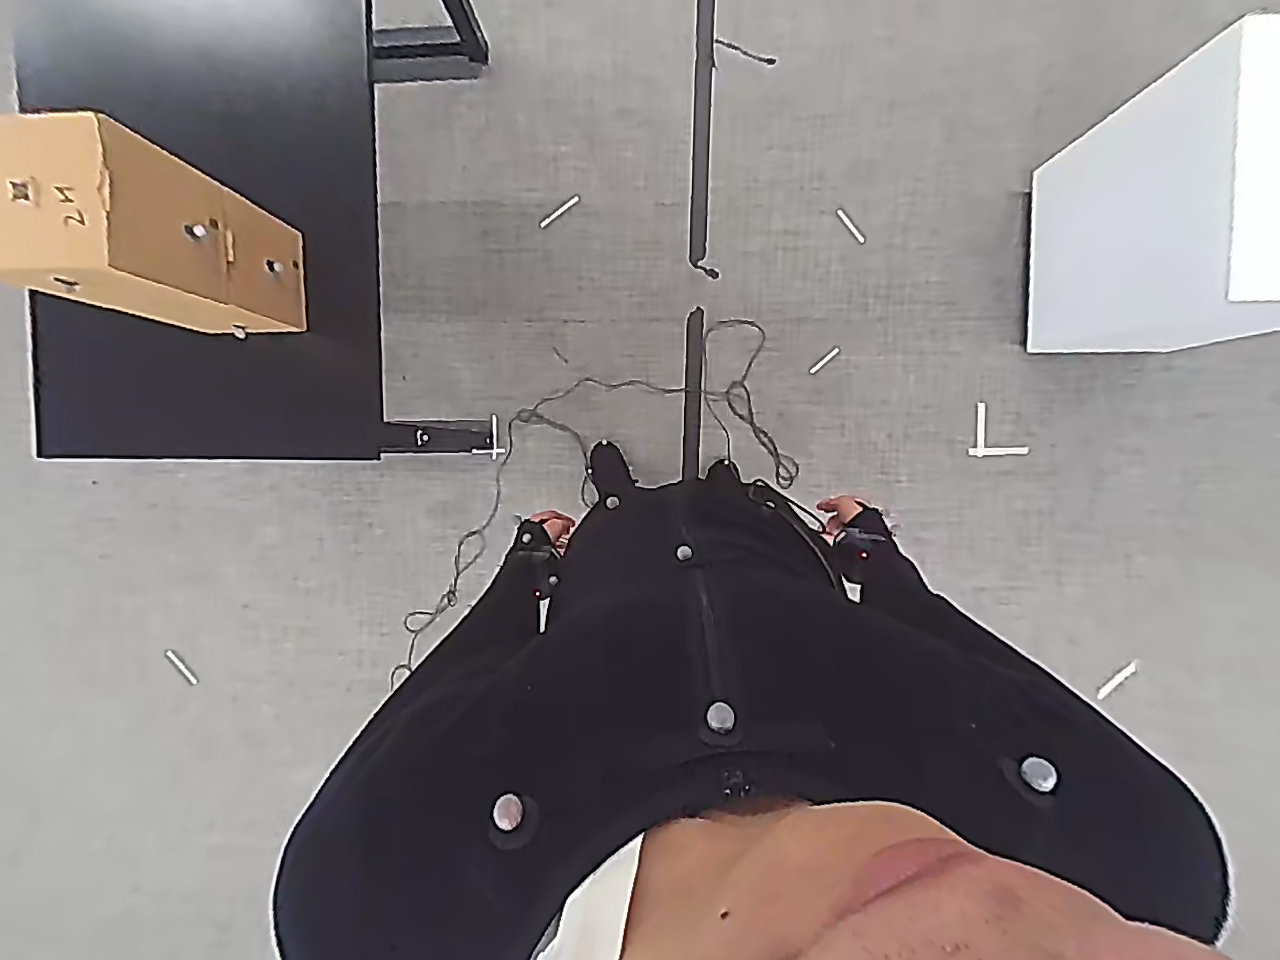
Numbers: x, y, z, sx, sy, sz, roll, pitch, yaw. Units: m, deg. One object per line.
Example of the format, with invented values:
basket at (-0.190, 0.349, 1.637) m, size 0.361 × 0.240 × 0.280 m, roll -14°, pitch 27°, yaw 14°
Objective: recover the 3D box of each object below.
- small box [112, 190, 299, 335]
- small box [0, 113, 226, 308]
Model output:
small box at (-0.653, -0.323, 0.829) m, size 0.179 × 0.176 × 0.168 m, roll -1°, pitch 93°, yaw 1°
small box at (-0.660, -0.314, 0.665) m, size 0.179 × 0.176 × 0.168 m, roll -1°, pitch 94°, yaw 2°
